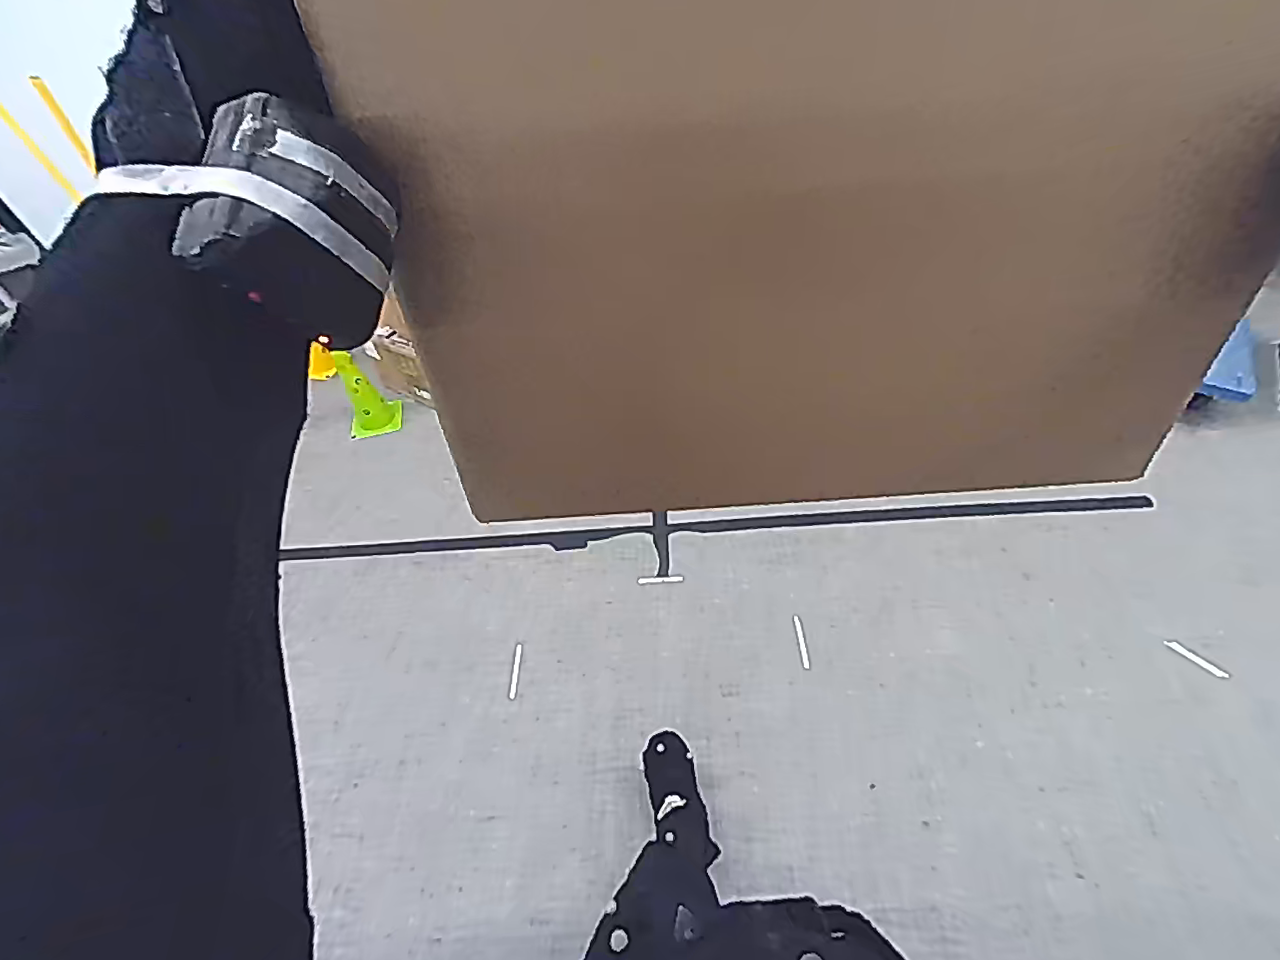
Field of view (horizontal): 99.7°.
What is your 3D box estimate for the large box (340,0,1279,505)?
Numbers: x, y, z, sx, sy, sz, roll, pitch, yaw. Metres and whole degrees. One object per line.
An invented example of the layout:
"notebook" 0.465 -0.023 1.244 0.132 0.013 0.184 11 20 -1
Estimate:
"large box" 0.082 -0.204 0.370 0.408 0.320 0.320 -4 38 0
